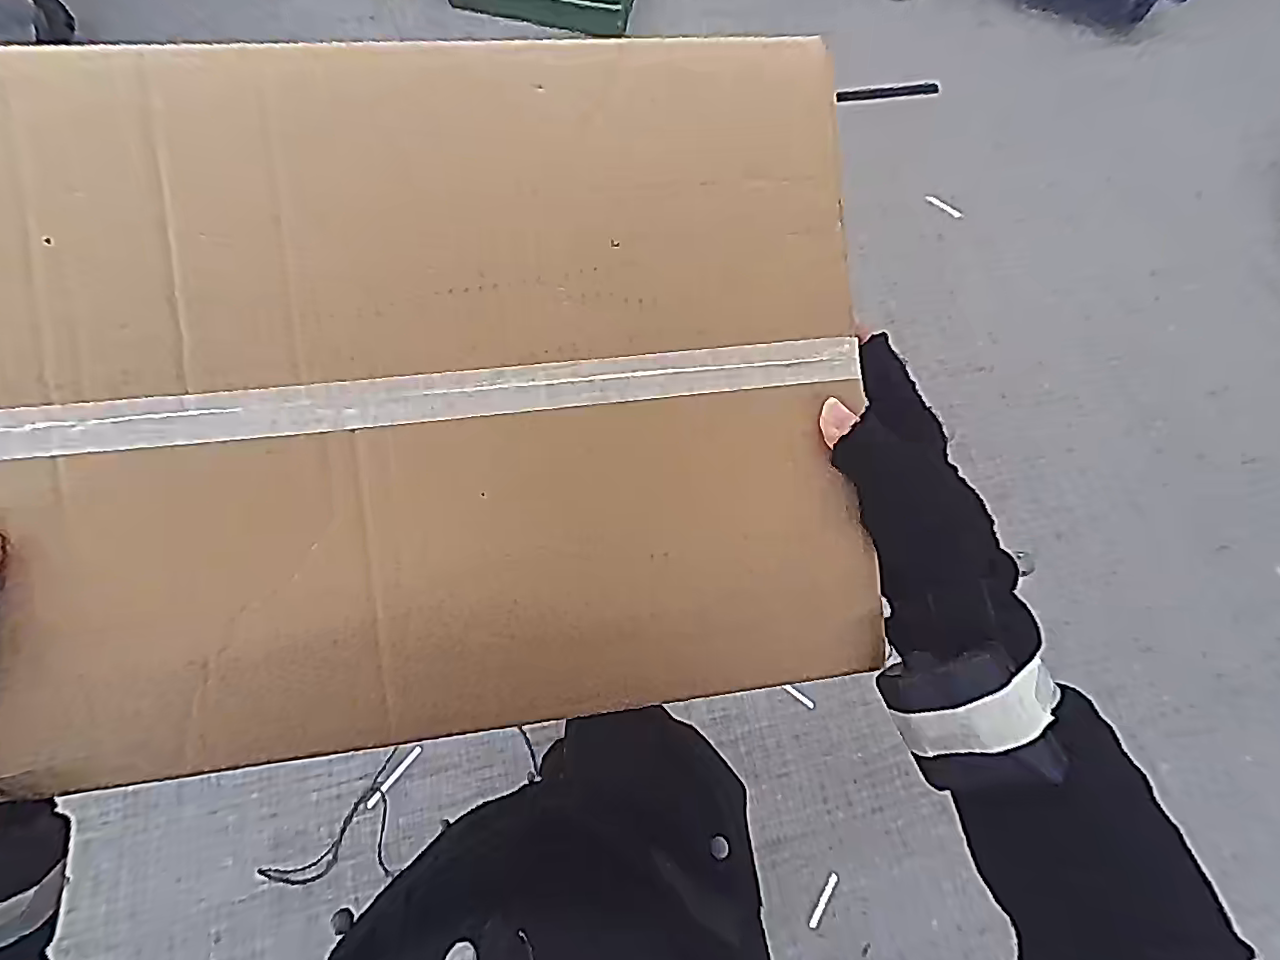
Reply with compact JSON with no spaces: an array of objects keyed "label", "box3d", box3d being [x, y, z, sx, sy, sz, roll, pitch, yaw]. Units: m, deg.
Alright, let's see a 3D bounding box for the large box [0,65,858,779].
[{"label":"large box","box3d":[-0.109,-0.043,0.406,0.408,0.320,0.320,-6,91,-7]}]
